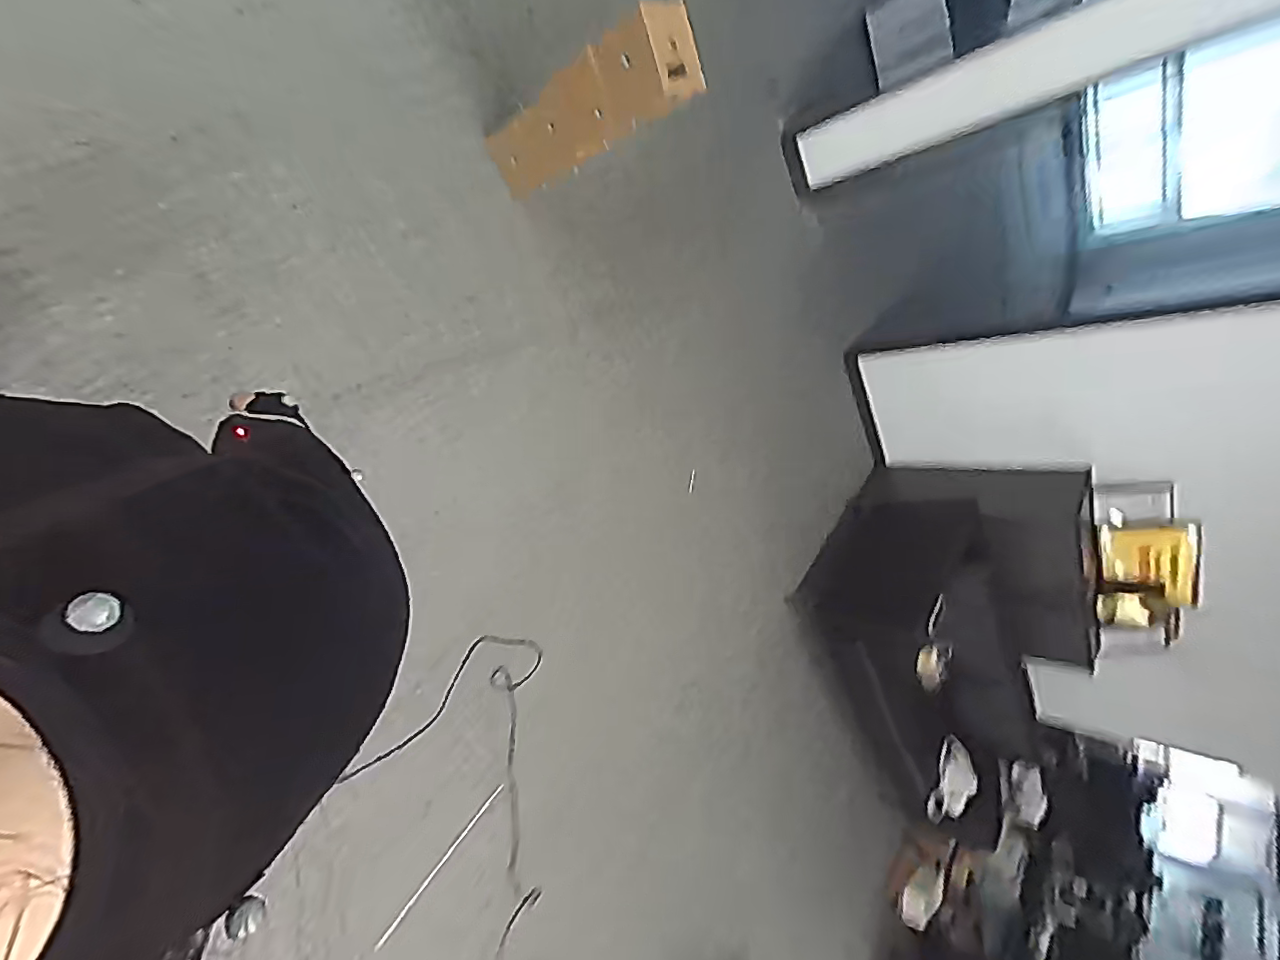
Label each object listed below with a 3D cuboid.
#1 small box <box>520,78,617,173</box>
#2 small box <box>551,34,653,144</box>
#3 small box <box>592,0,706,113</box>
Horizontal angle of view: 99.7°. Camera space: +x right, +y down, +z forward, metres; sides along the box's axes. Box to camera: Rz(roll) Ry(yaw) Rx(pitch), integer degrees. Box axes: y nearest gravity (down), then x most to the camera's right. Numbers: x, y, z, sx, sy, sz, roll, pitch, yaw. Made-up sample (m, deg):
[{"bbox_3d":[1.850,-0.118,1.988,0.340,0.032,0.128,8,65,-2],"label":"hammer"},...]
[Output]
[{"bbox_3d":[-0.201,-0.989,1.496,0.168,0.176,0.179,-43,120,-31],"label":"small box"},{"bbox_3d":[-0.095,-0.991,1.371,0.168,0.176,0.179,-40,119,-33],"label":"small box"},{"bbox_3d":[0.020,-0.982,1.255,0.168,0.176,0.179,-39,117,-35],"label":"small box"}]
